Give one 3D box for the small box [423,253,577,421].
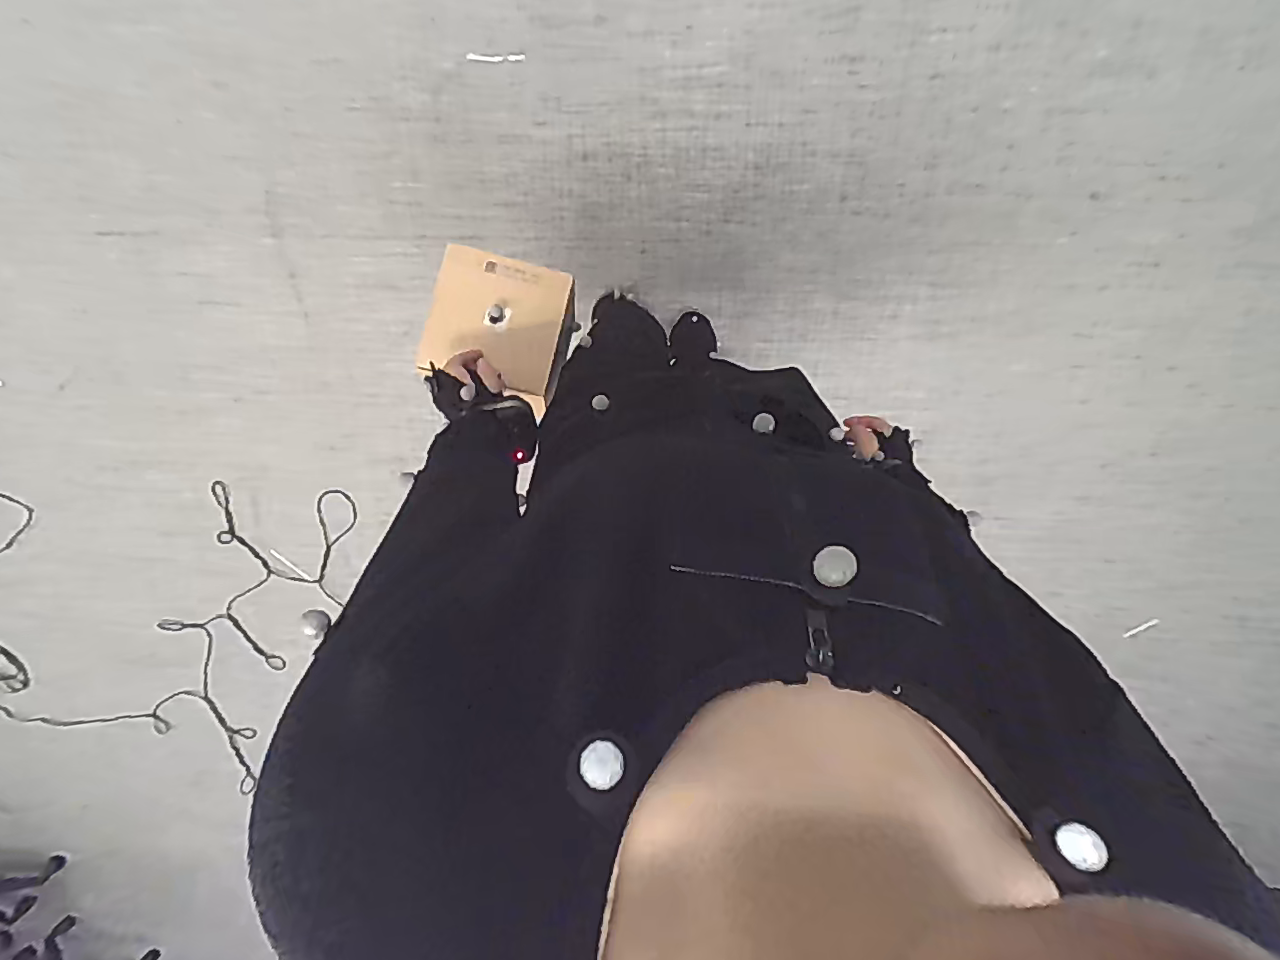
[{"bbox_3d":[-0.188,-0.195,0.769,0.168,0.179,0.176,12,85,-5],"label":"small box"}]
